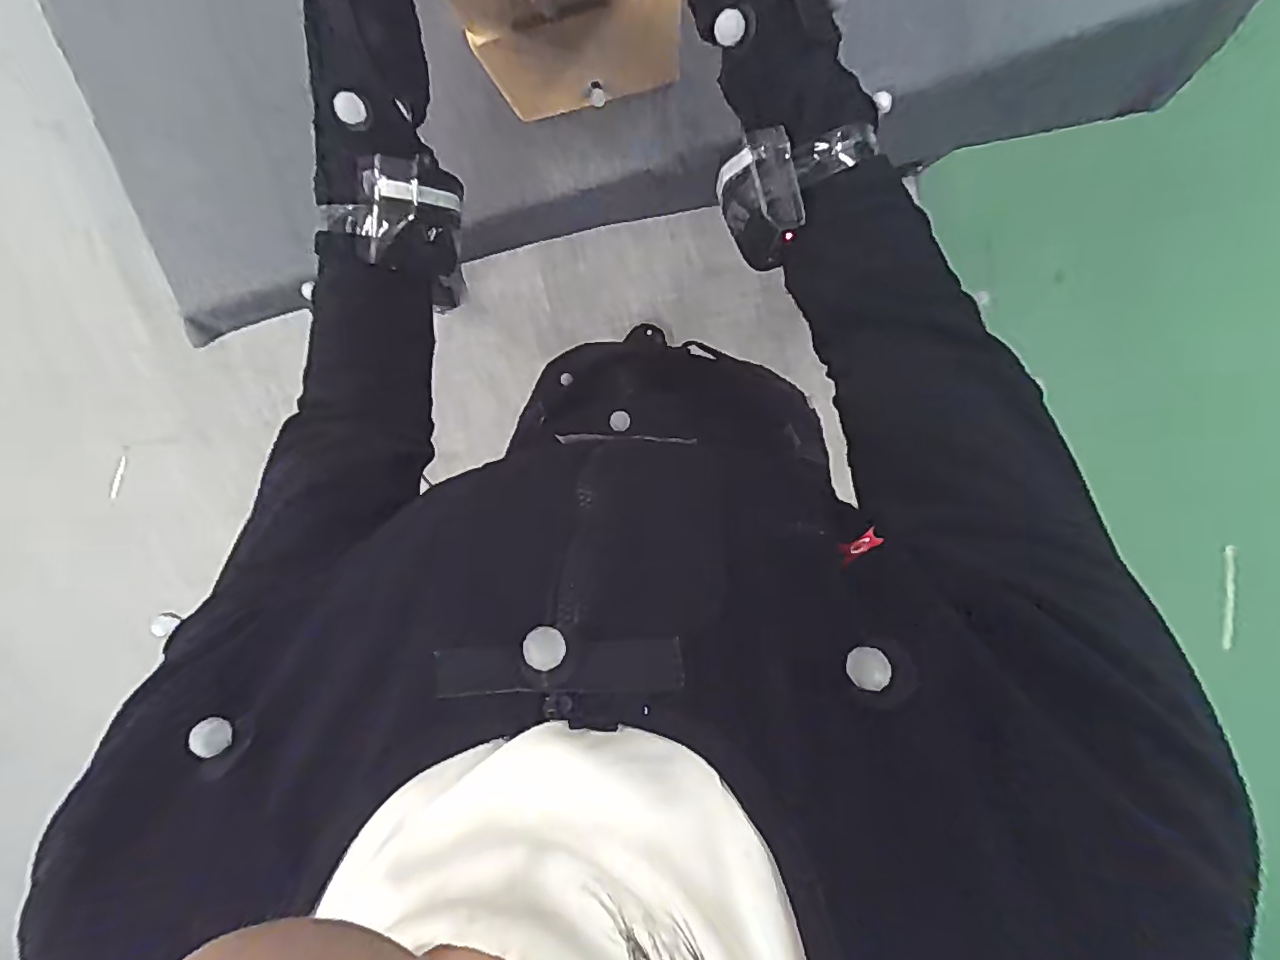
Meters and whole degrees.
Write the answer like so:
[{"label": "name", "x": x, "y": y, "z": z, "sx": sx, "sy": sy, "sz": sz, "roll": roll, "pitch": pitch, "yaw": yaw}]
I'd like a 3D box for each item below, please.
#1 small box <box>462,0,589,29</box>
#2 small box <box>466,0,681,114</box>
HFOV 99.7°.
[{"label": "small box", "x": -0.080, "y": -0.436, "z": 0.330, "sx": 0.168, "sy": 0.176, "sz": 0.179, "roll": -11, "pitch": 105, "yaw": 7}, {"label": "small box", "x": -0.064, "y": -0.470, "z": 0.489, "sx": 0.179, "sy": 0.176, "sz": 0.168, "roll": -11, "pitch": 104, "yaw": 6}]
